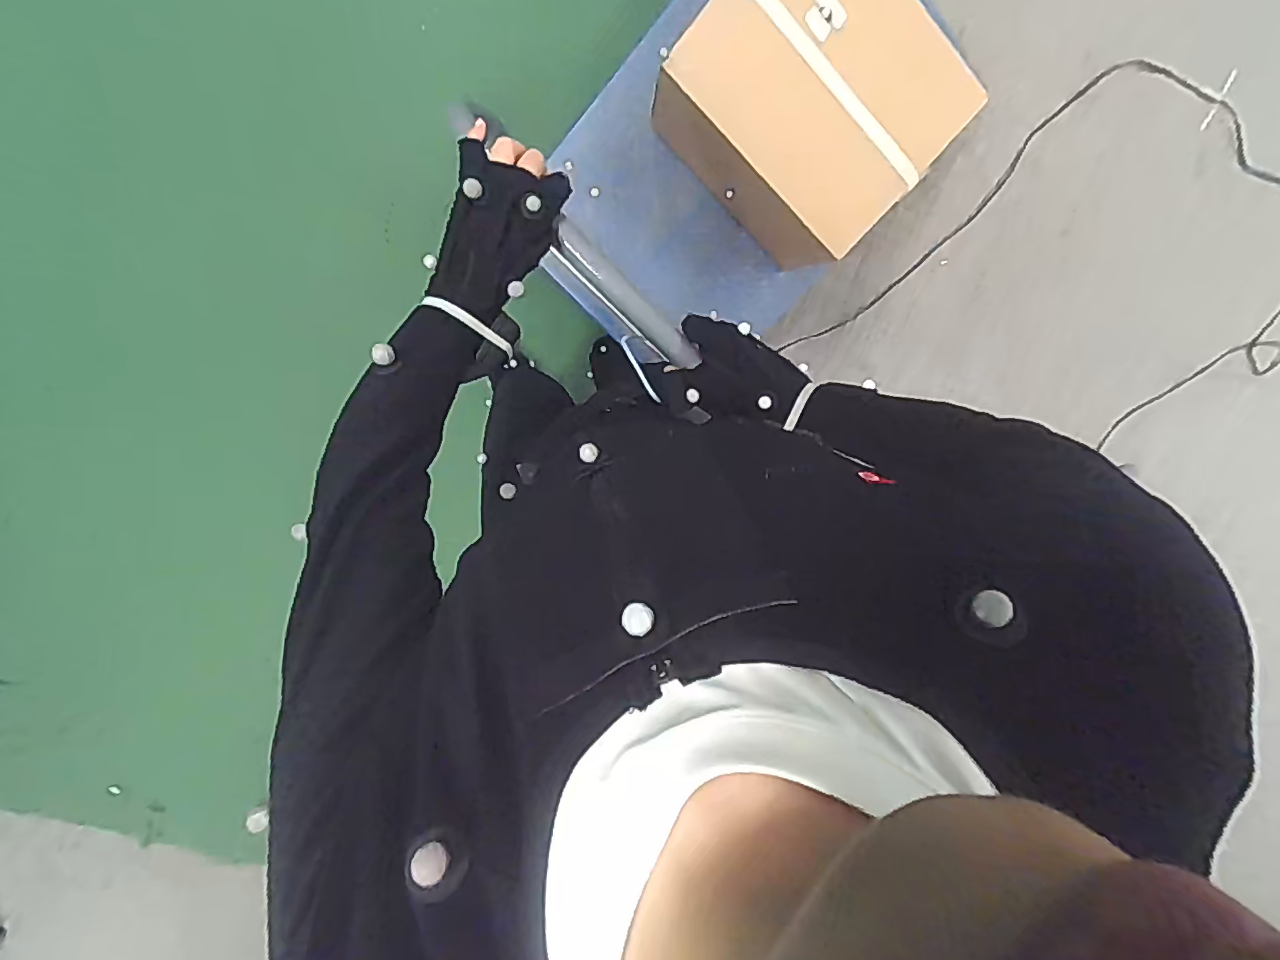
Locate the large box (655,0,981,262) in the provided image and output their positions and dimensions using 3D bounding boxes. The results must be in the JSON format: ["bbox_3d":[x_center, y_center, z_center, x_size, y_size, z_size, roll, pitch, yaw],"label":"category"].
[{"bbox_3d":[0.277,-0.650,0.959,0.408,0.320,0.320,40,103,-13],"label":"large box"}]
